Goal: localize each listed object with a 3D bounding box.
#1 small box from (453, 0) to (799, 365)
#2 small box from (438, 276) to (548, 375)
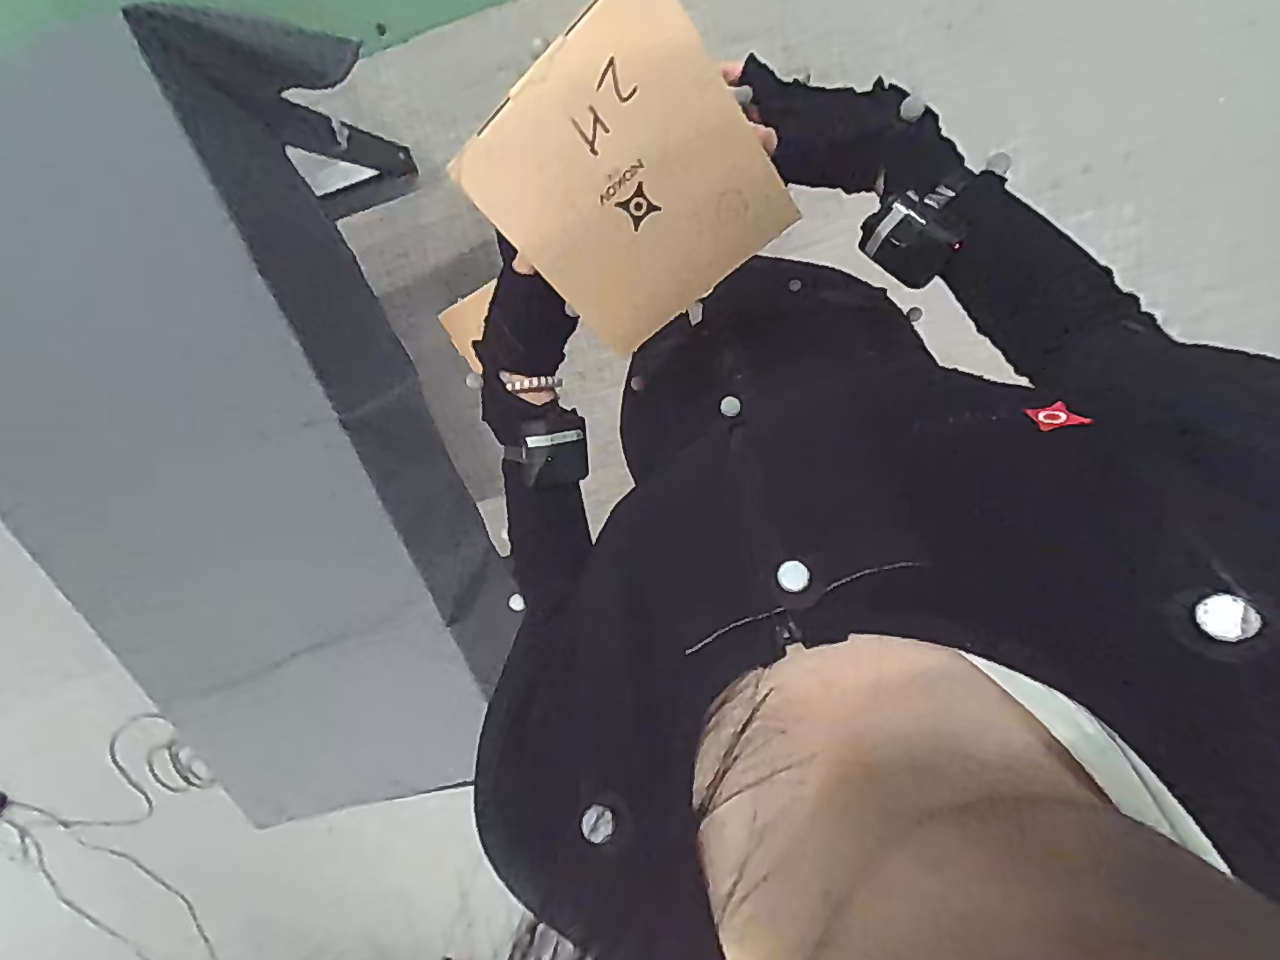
[{"bbox_3d":[-0.007,-0.230,0.417,0.168,0.176,0.179,-32,124,20],"label":"small box"},{"bbox_3d":[-0.350,-0.382,1.326,0.179,0.176,0.168,-25,110,14],"label":"small box"}]
